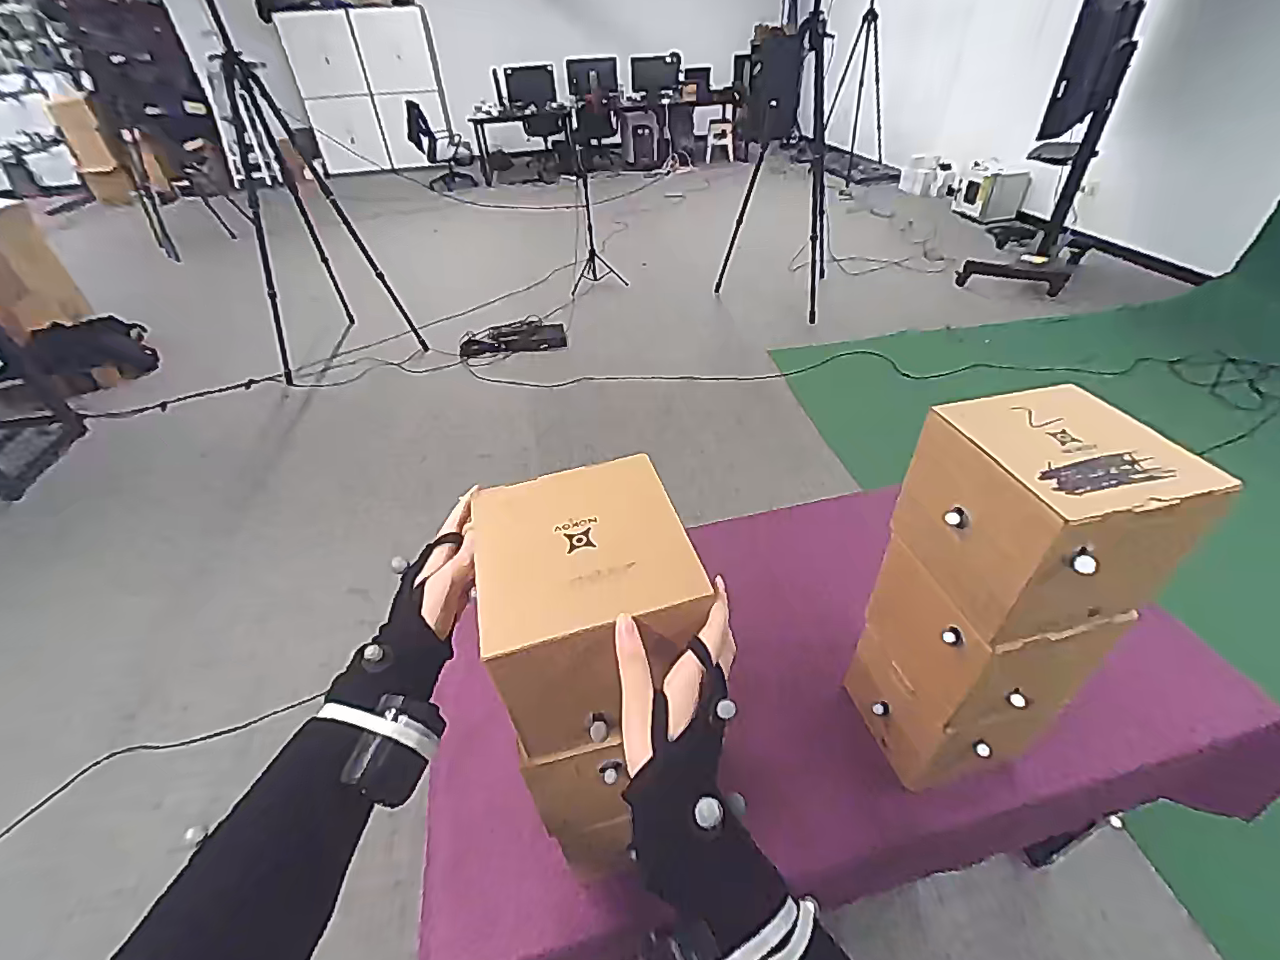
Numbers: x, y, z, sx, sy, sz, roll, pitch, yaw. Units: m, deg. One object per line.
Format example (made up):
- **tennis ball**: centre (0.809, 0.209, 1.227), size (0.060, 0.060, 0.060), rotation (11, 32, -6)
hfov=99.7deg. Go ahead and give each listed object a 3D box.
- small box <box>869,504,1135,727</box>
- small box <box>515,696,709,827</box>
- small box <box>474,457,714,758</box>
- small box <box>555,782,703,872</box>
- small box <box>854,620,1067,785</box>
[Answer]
- **small box**: centre (0.400, 0.157, 0.641), size (0.168, 0.176, 0.179), rotation (-10, 40, -8)
- **small box**: centre (-0.033, 0.239, 0.580), size (0.179, 0.176, 0.168), rotation (-11, 40, -9)
- **small box**: centre (-0.044, 0.108, 0.482), size (0.168, 0.176, 0.179), rotation (-13, 41, -10)
- **small box**: centre (-0.022, 0.365, 0.685), size (0.168, 0.176, 0.179), rotation (-11, 40, -8)
- **small box**: centre (0.415, 0.286, 0.740), size (0.179, 0.176, 0.168), rotation (-12, 41, -8)
